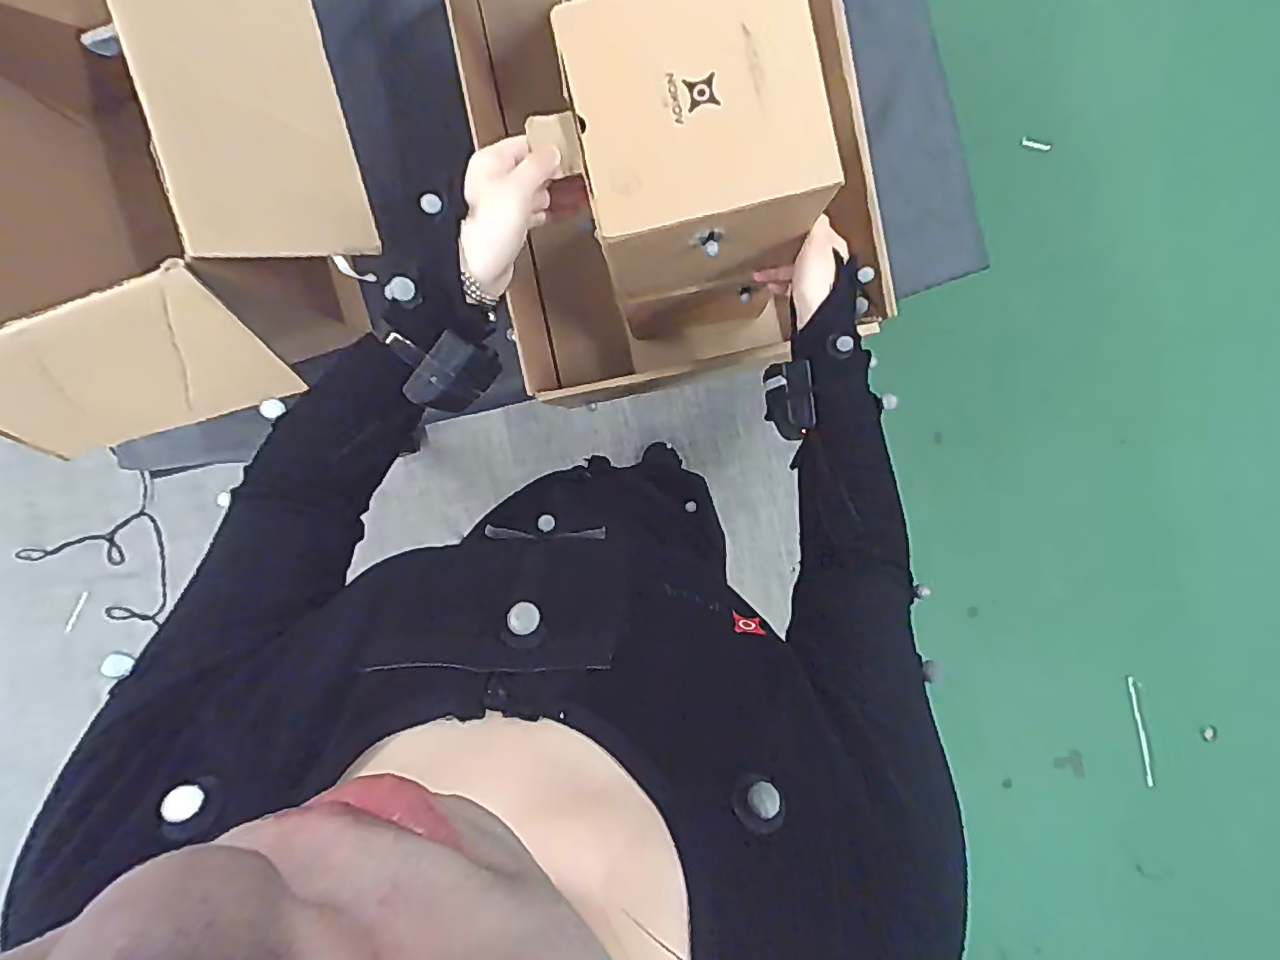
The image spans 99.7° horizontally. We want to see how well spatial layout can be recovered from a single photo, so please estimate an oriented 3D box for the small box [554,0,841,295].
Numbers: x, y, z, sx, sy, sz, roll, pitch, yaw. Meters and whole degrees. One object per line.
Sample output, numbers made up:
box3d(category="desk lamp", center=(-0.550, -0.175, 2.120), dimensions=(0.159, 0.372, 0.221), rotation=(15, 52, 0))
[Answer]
box3d(category="small box", center=(0.044, -0.272, 0.457), dimensions=(0.179, 0.176, 0.168), rotation=(-13, 94, 3))
